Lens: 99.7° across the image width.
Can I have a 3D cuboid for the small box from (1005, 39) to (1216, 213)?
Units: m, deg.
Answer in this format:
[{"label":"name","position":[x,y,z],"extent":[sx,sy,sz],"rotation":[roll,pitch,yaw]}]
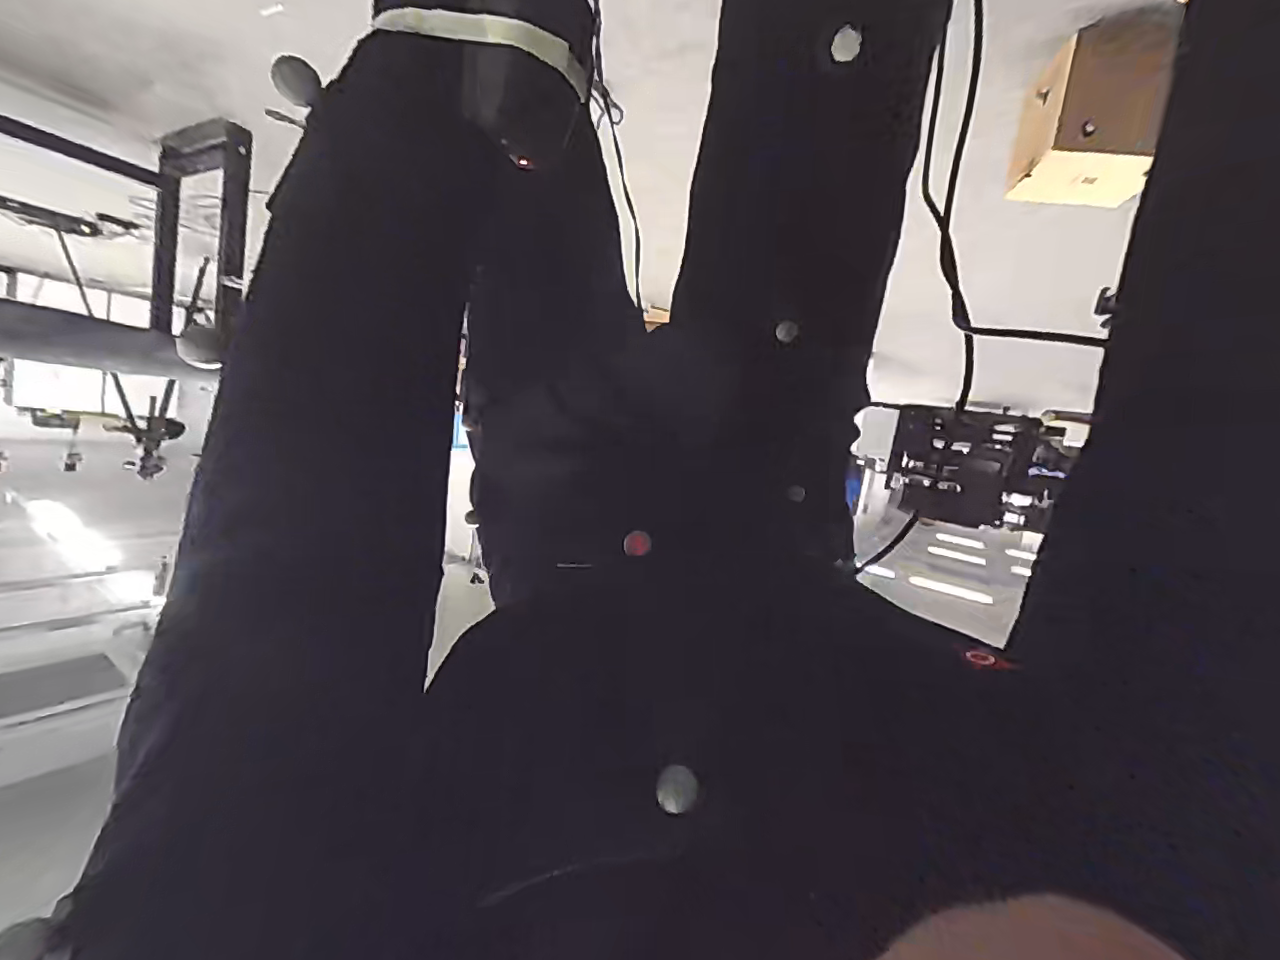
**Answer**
[{"label":"small box","position":[0.706,-0.531,0.826],"extent":[0.179,0.176,0.168],"rotation":[11,-174,12]}]
